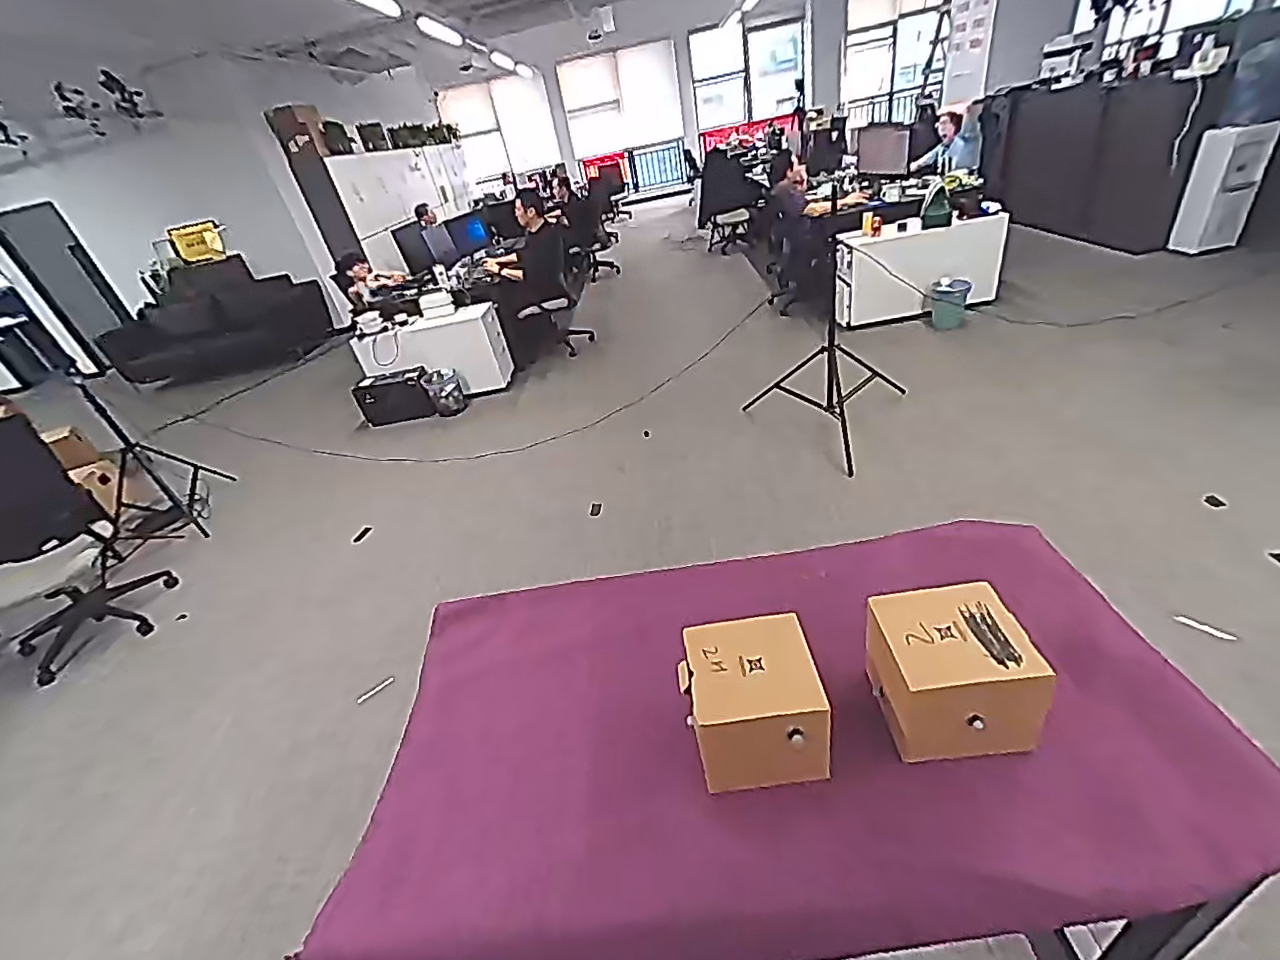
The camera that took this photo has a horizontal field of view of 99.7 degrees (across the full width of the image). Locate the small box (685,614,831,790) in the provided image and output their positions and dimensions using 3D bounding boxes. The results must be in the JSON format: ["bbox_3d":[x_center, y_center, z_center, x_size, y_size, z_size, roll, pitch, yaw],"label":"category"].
[{"bbox_3d":[0.169,0.327,0.798,0.179,0.176,0.168,-10,32,4],"label":"small box"}]
